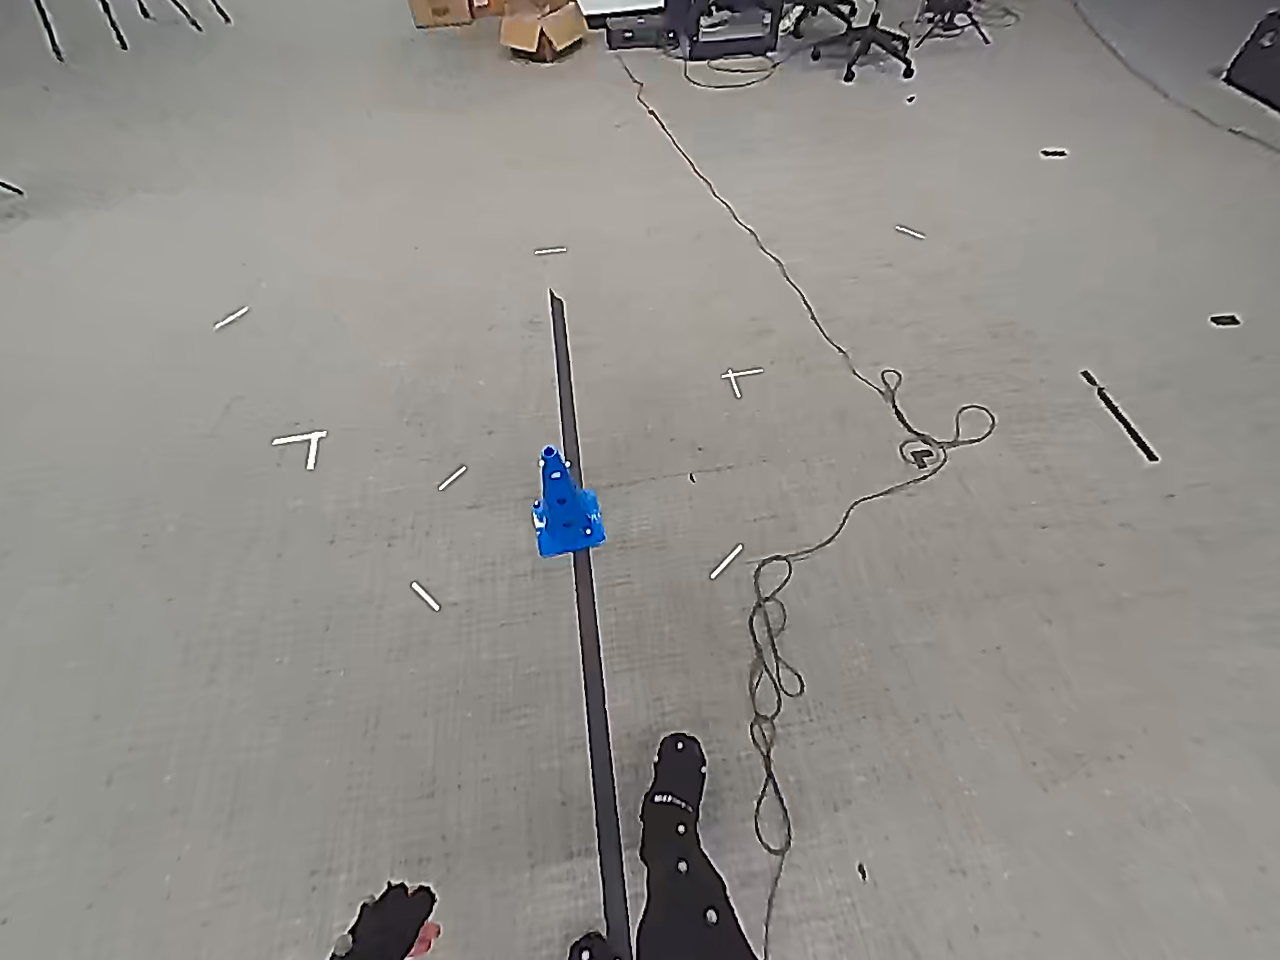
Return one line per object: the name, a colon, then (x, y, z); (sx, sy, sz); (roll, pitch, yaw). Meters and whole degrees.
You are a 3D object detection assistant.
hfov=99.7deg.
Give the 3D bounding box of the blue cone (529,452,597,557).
blue cone: (-0.238, 0.044, 1.501); (0.192, 0.380, 0.193); (-11, 56, -5)
